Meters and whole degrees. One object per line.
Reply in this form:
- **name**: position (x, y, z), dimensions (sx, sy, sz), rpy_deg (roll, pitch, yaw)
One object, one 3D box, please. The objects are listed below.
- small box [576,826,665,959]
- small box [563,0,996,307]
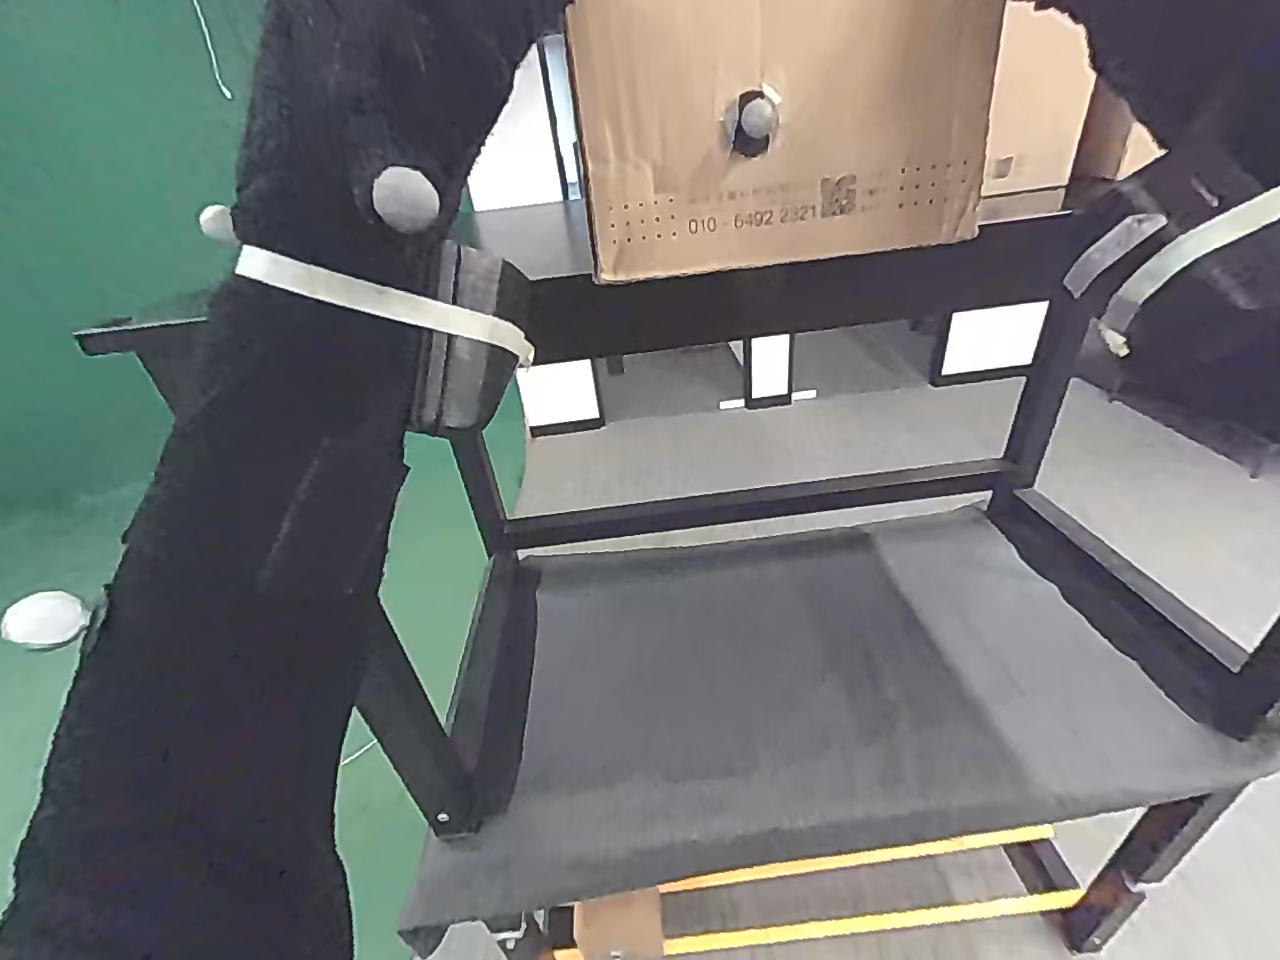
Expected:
- **small box**: position (-0.040, 0.879, 1.154), dimensions (0.168, 0.176, 0.179), rpy_deg (-7, 34, 0)
- **small box**: position (0.050, -0.192, 0.285), dimensions (0.168, 0.176, 0.179), rpy_deg (-7, 26, -1)
